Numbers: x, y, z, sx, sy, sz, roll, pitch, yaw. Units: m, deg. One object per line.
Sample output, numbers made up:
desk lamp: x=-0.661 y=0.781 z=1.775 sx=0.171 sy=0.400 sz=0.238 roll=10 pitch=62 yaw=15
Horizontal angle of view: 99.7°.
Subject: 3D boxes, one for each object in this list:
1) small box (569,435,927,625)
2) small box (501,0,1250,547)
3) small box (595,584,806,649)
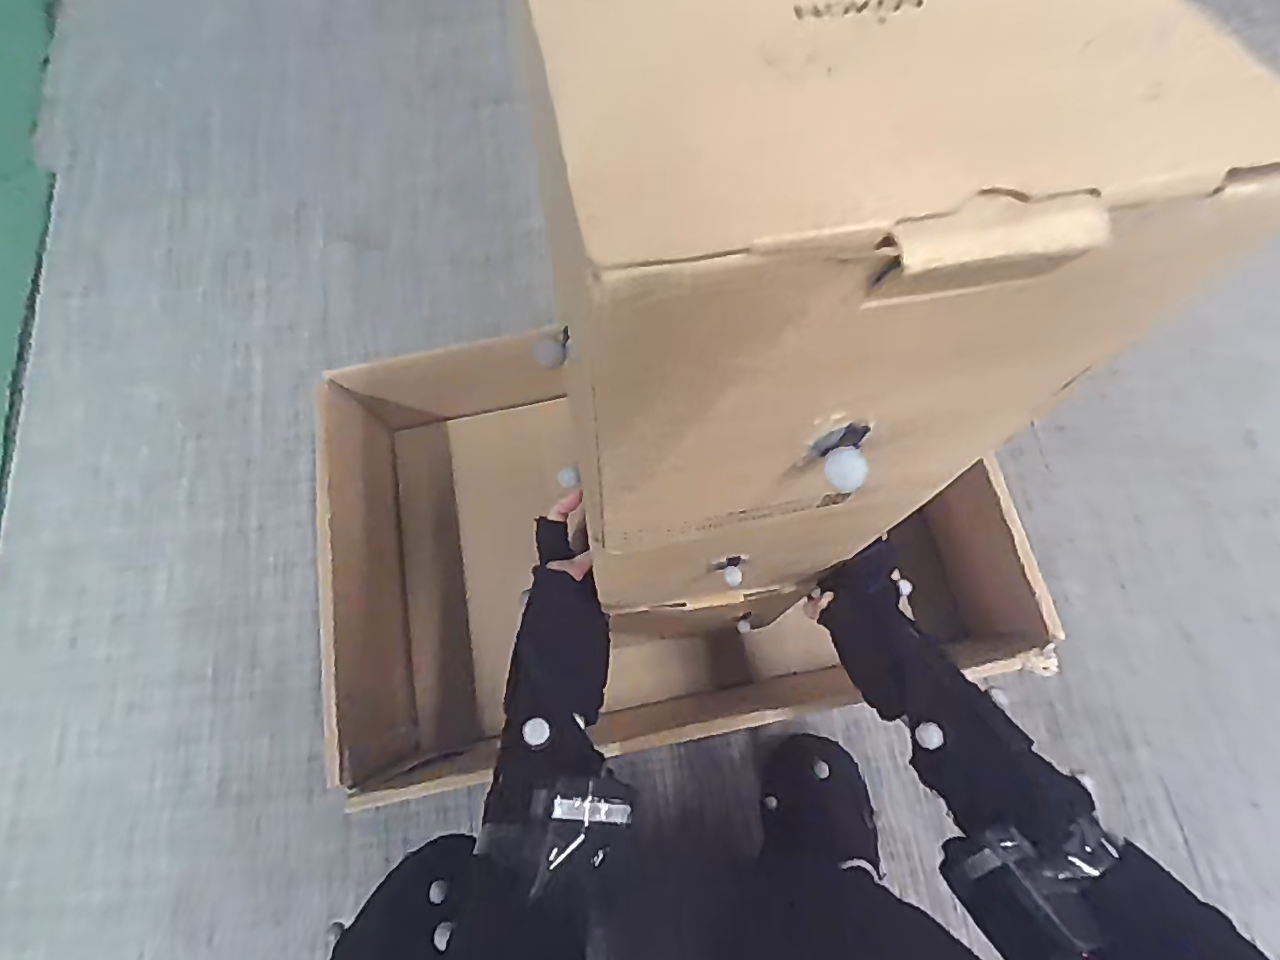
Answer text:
small box: x=0.045 y=-0.010 z=0.370 sx=0.179 sy=0.176 sz=0.168 roll=-10 pitch=66 yaw=-8
small box: x=0.046 y=-0.081 z=0.224 sx=0.168 sy=0.176 sz=0.179 roll=-9 pitch=66 yaw=-6
small box: x=0.037 y=0.059 z=0.518 sx=0.168 sy=0.176 sz=0.179 roll=-6 pitch=64 yaw=-5
